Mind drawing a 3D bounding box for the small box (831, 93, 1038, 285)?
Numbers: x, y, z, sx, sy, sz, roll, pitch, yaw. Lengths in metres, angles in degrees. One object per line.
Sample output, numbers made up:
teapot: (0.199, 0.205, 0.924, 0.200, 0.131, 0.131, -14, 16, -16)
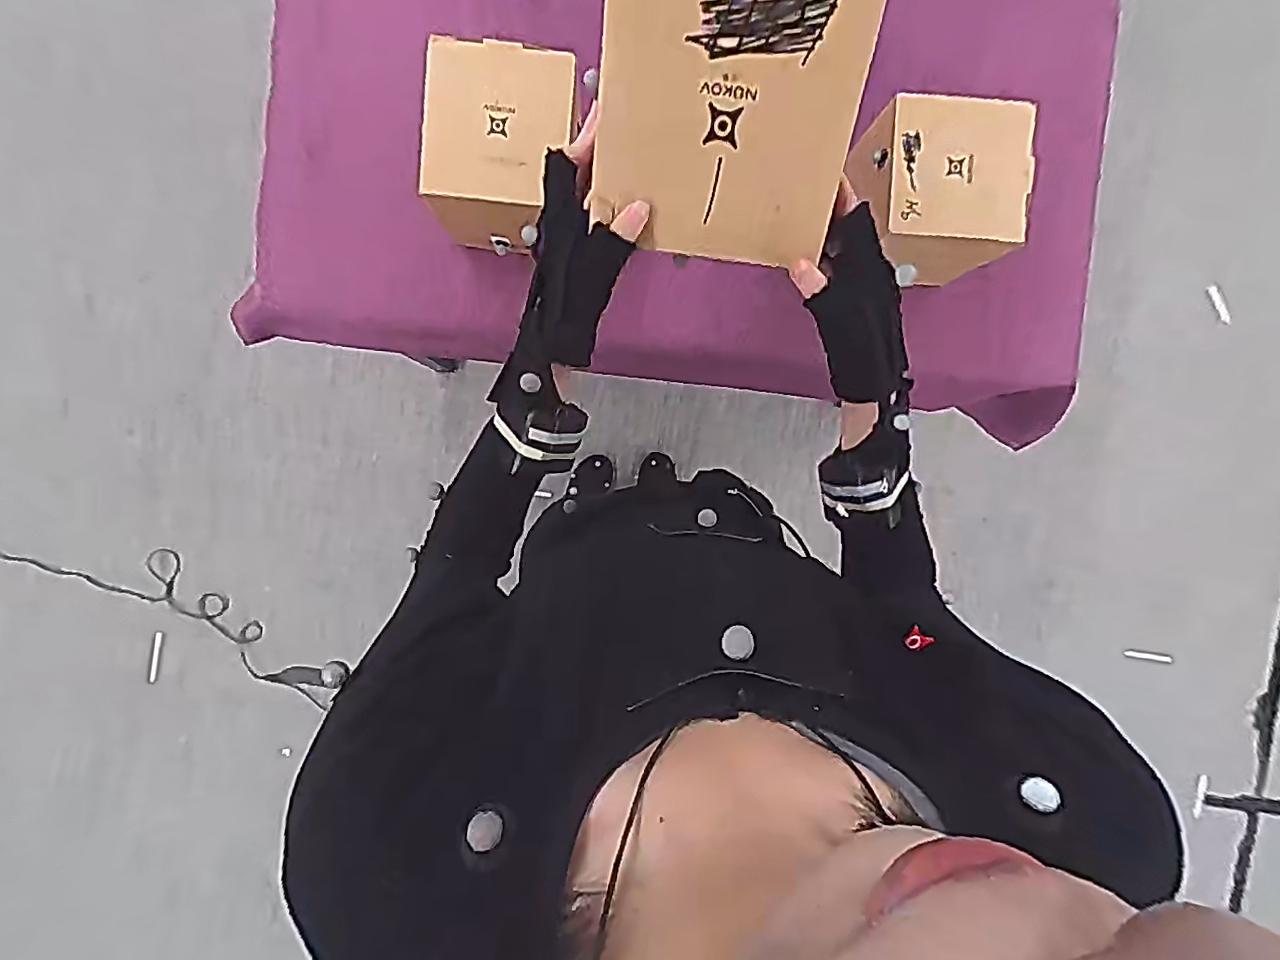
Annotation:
small box: (0.380, -0.371, 0.723, 0.179, 0.176, 0.168, 3, 92, -4)

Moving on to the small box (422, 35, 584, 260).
small box: (-0.161, -0.402, 0.684, 0.168, 0.176, 0.179, 4, 93, -3)

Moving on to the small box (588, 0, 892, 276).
small box: (0.057, -0.265, 0.407, 0.168, 0.176, 0.179, 7, 117, -2)
